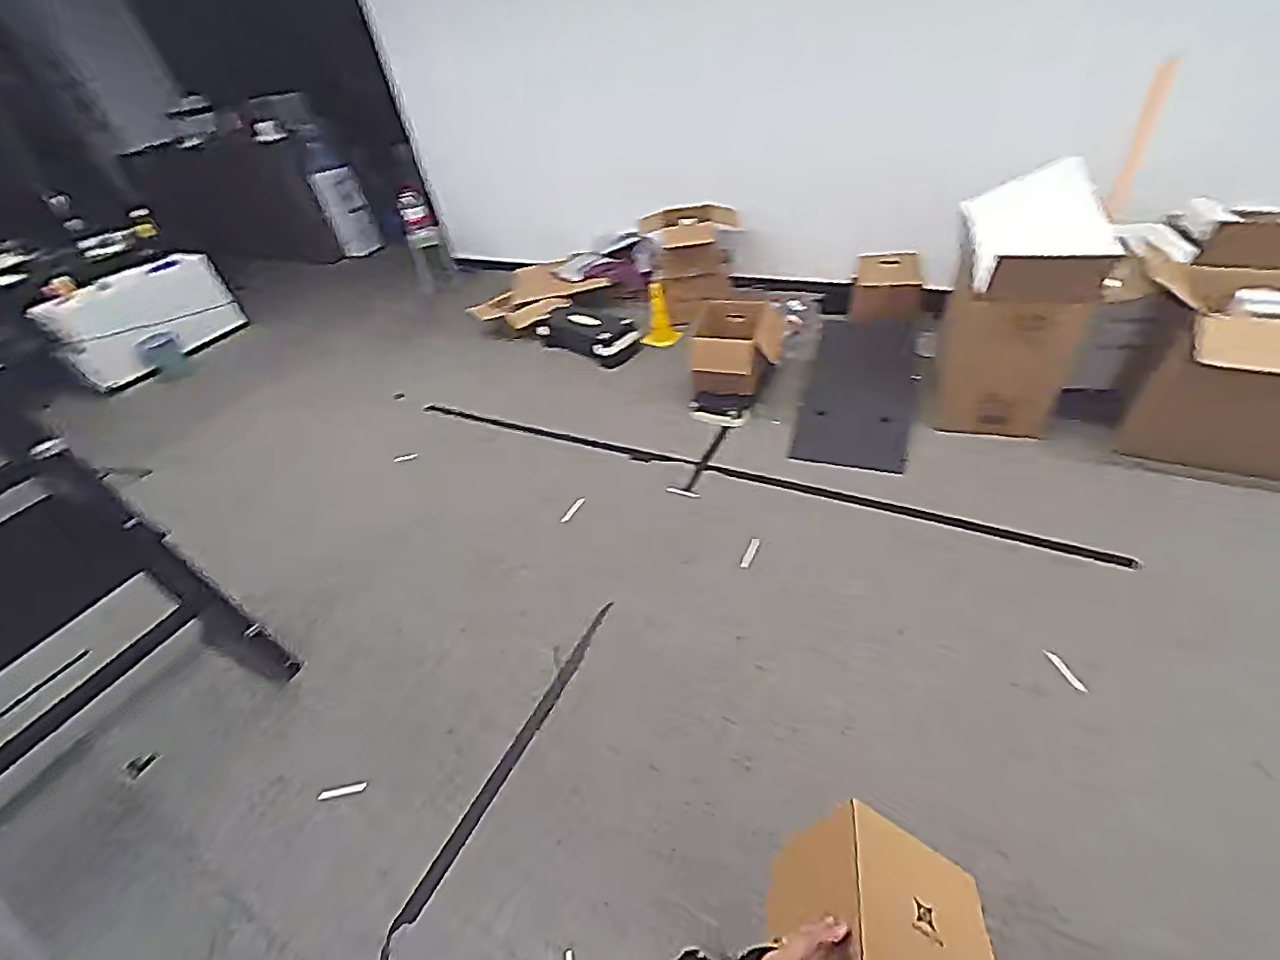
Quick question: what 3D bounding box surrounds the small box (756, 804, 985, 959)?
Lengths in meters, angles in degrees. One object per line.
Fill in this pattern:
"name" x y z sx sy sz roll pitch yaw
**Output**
"small box" 0.238 0.504 0.575 0.168 0.176 0.179 33 27 1
